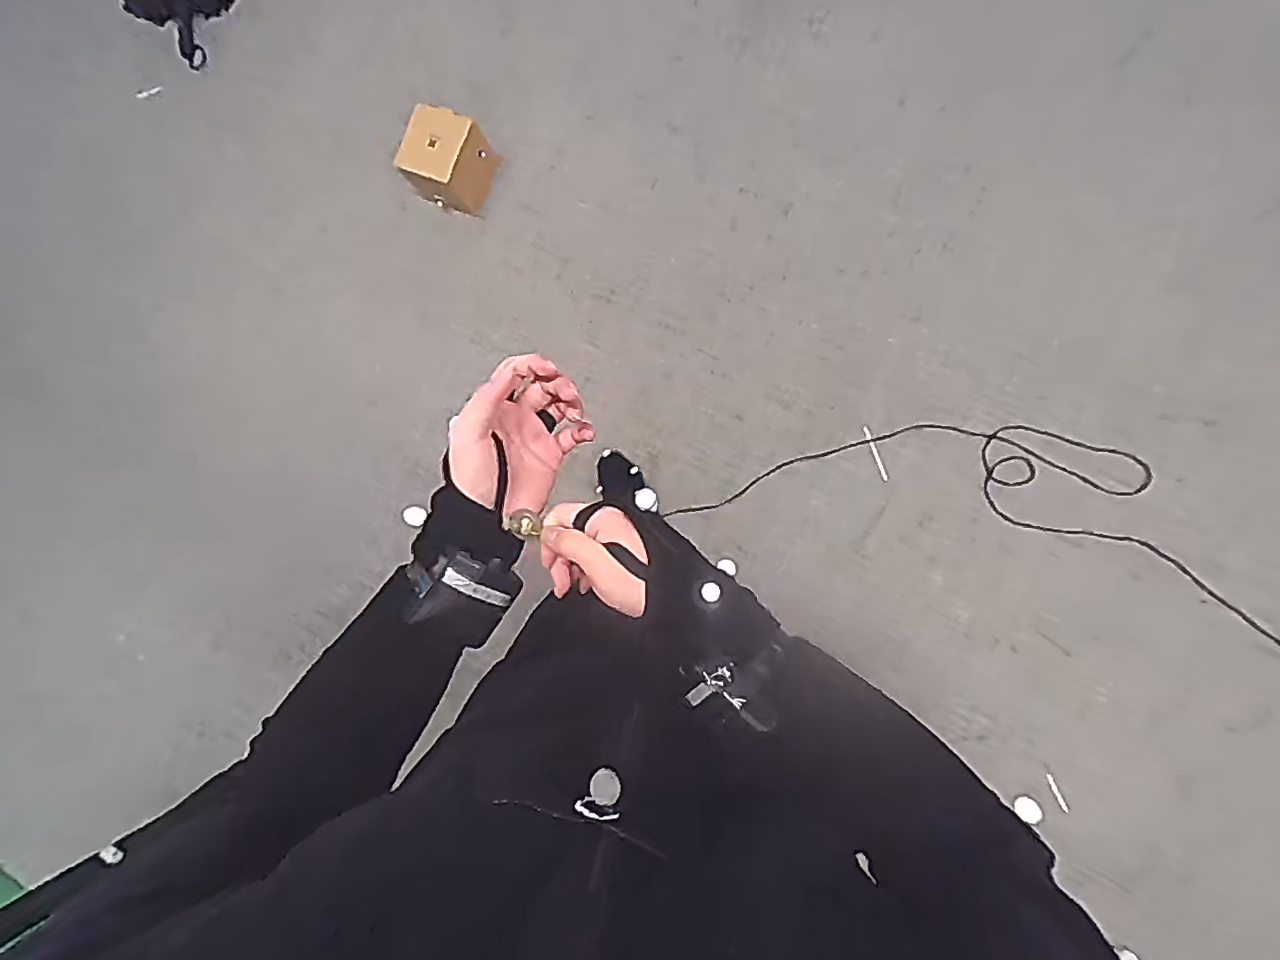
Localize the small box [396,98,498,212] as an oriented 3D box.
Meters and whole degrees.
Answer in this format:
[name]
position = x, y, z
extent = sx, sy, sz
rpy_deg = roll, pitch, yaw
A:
[small box]
position = -0.500, -0.853, 1.433
extent = 0.168, 0.176, 0.179
rpy_deg = 23, 92, 9
